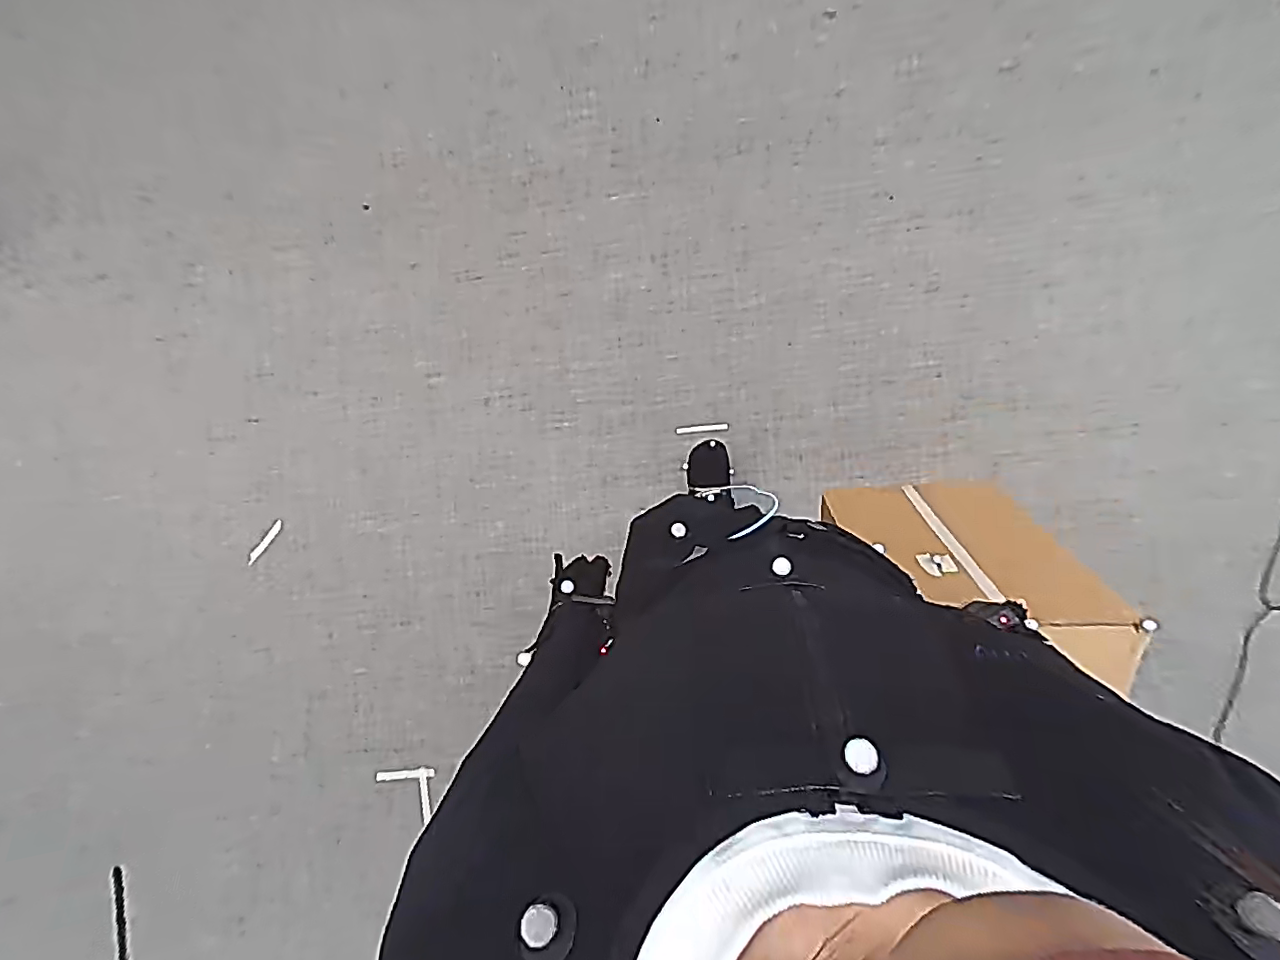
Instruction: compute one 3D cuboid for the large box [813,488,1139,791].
[{"bbox_3d":[0.496,0.241,0.922,0.320,0.408,0.320,-3,116,8],"label":"large box"}]
